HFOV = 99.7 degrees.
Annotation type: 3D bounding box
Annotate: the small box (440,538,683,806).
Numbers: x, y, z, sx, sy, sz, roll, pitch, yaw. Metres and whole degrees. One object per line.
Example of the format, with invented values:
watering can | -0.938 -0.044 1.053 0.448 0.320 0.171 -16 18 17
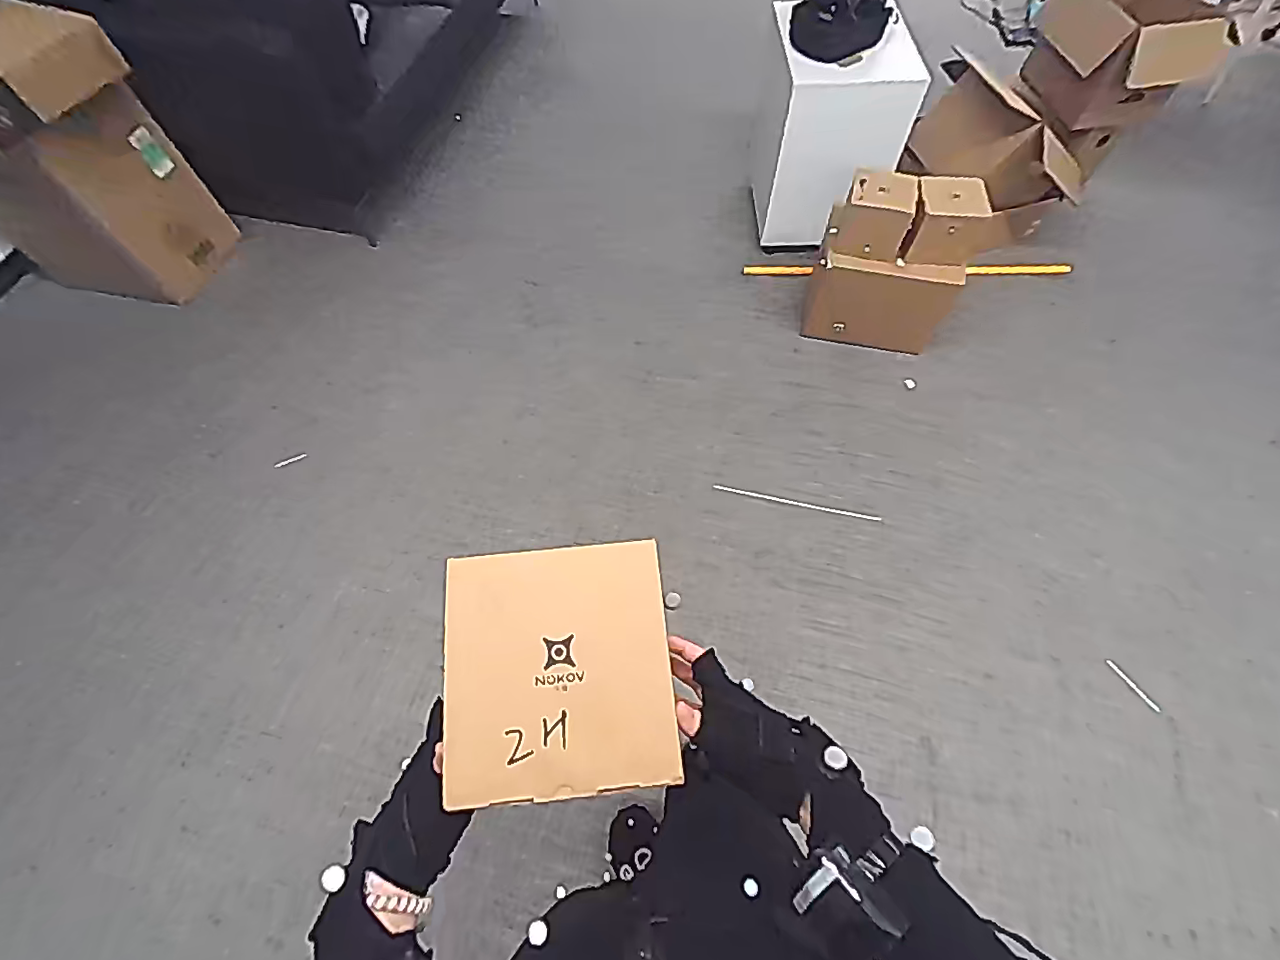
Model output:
small box | -0.060 0.159 0.466 0.168 0.176 0.179 -4 70 -3
